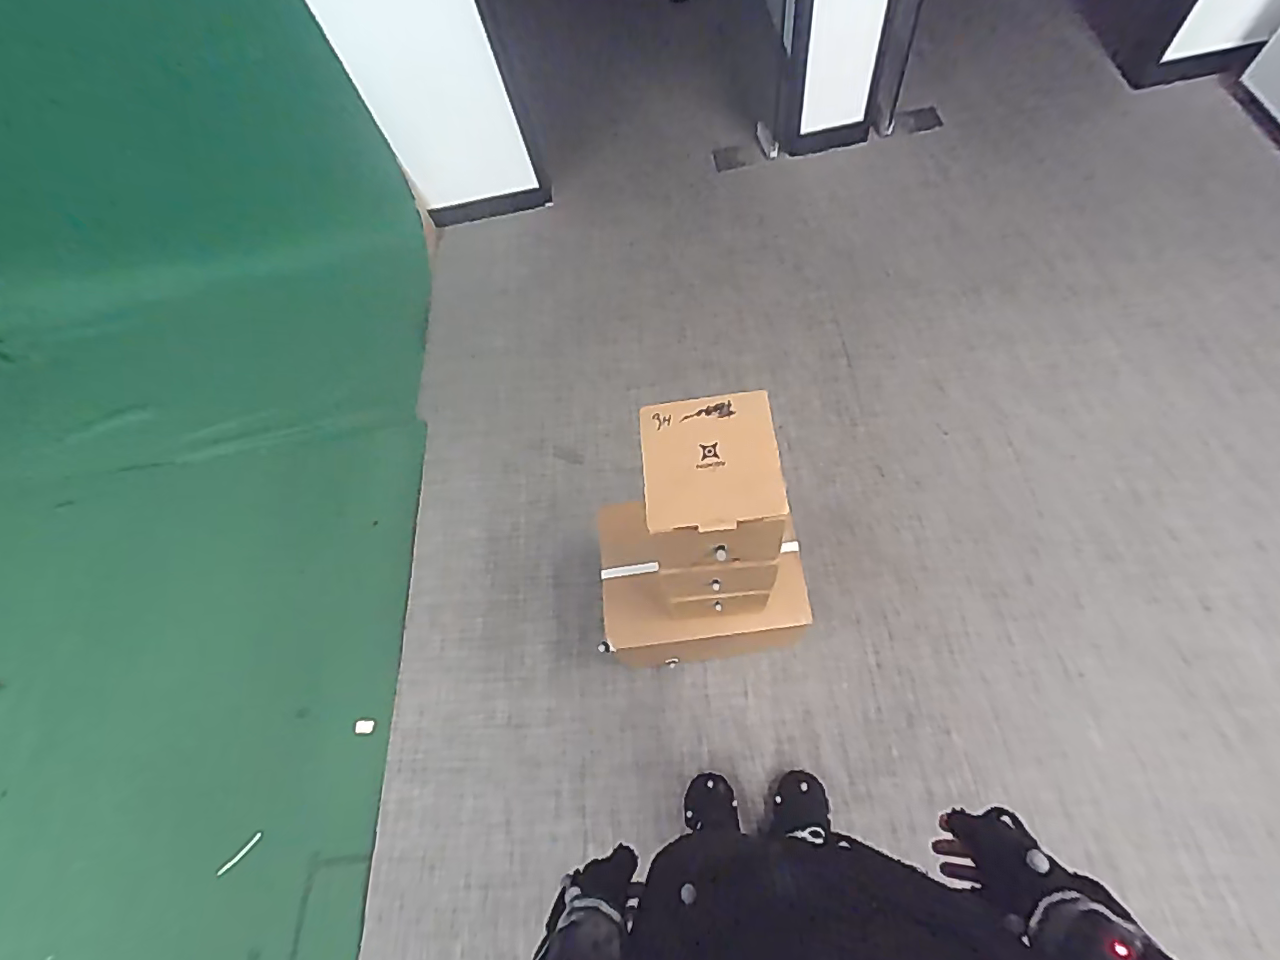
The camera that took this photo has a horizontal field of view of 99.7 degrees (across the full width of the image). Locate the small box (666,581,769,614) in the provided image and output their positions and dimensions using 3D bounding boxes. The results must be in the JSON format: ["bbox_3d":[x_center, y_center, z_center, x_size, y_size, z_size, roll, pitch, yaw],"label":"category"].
[{"bbox_3d":[0.140,0.153,1.020,0.179,0.176,0.168,-7,66,6],"label":"small box"}]

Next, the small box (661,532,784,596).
[{"bbox_3d":[0.122,0.083,0.873,0.179,0.176,0.168,-8,65,5],"label":"small box"}]

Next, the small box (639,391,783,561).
[{"bbox_3d":[0.096,0.006,0.730,0.168,0.176,0.179,-6,66,8],"label":"small box"}]
